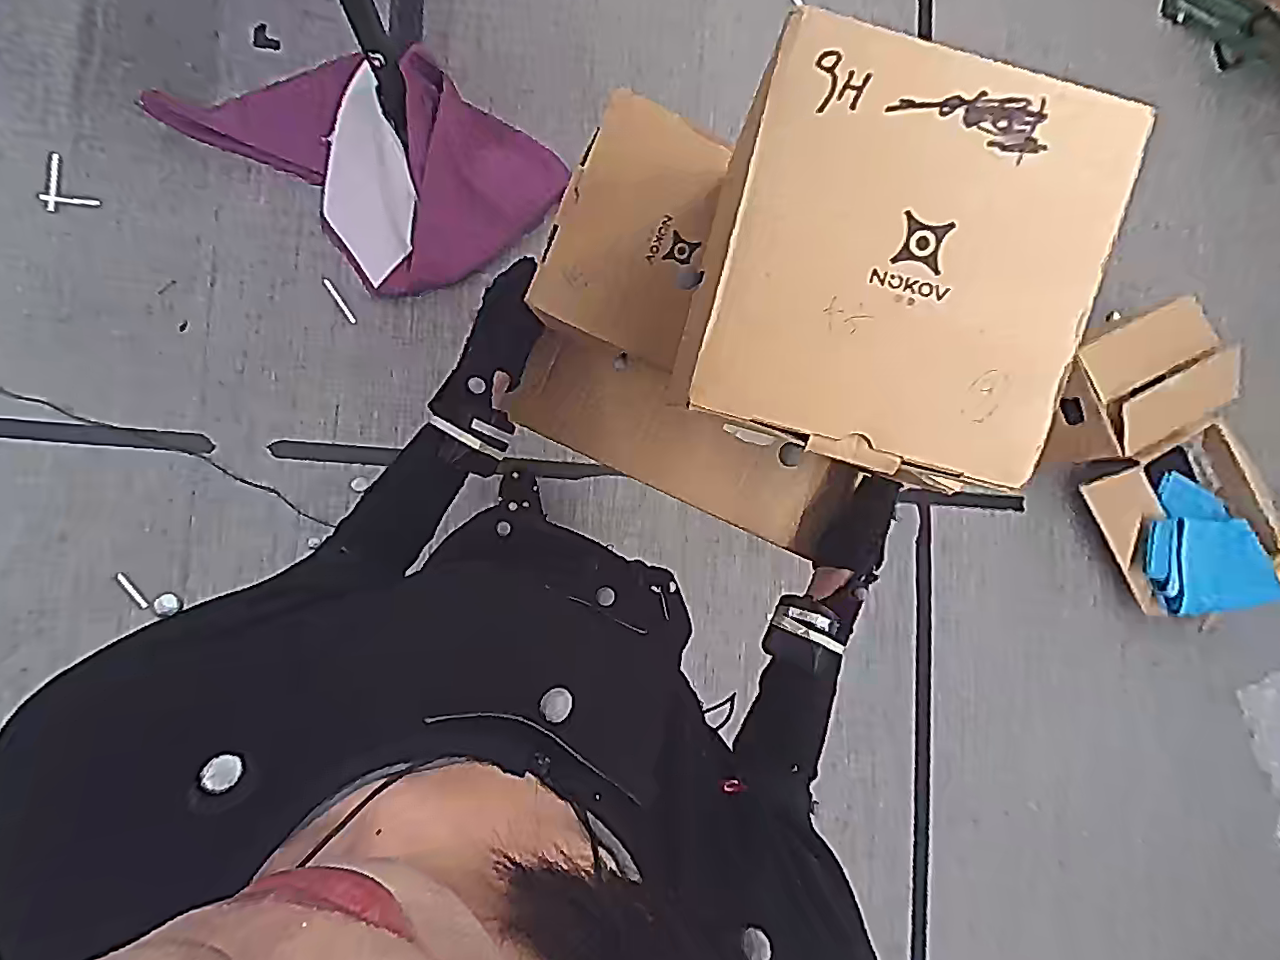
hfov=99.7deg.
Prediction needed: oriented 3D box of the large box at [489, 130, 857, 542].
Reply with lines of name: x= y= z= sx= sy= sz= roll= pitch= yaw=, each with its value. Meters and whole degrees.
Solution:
large box: x=0.070 y=-0.161 z=0.723 sx=0.408 sy=0.320 sz=0.320 roll=24 pitch=96 yaw=-5

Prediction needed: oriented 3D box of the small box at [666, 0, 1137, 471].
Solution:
small box: x=0.114 y=-0.117 z=0.320 sx=0.168 sy=0.176 sz=0.179 roll=14 pitch=97 yaw=-3
